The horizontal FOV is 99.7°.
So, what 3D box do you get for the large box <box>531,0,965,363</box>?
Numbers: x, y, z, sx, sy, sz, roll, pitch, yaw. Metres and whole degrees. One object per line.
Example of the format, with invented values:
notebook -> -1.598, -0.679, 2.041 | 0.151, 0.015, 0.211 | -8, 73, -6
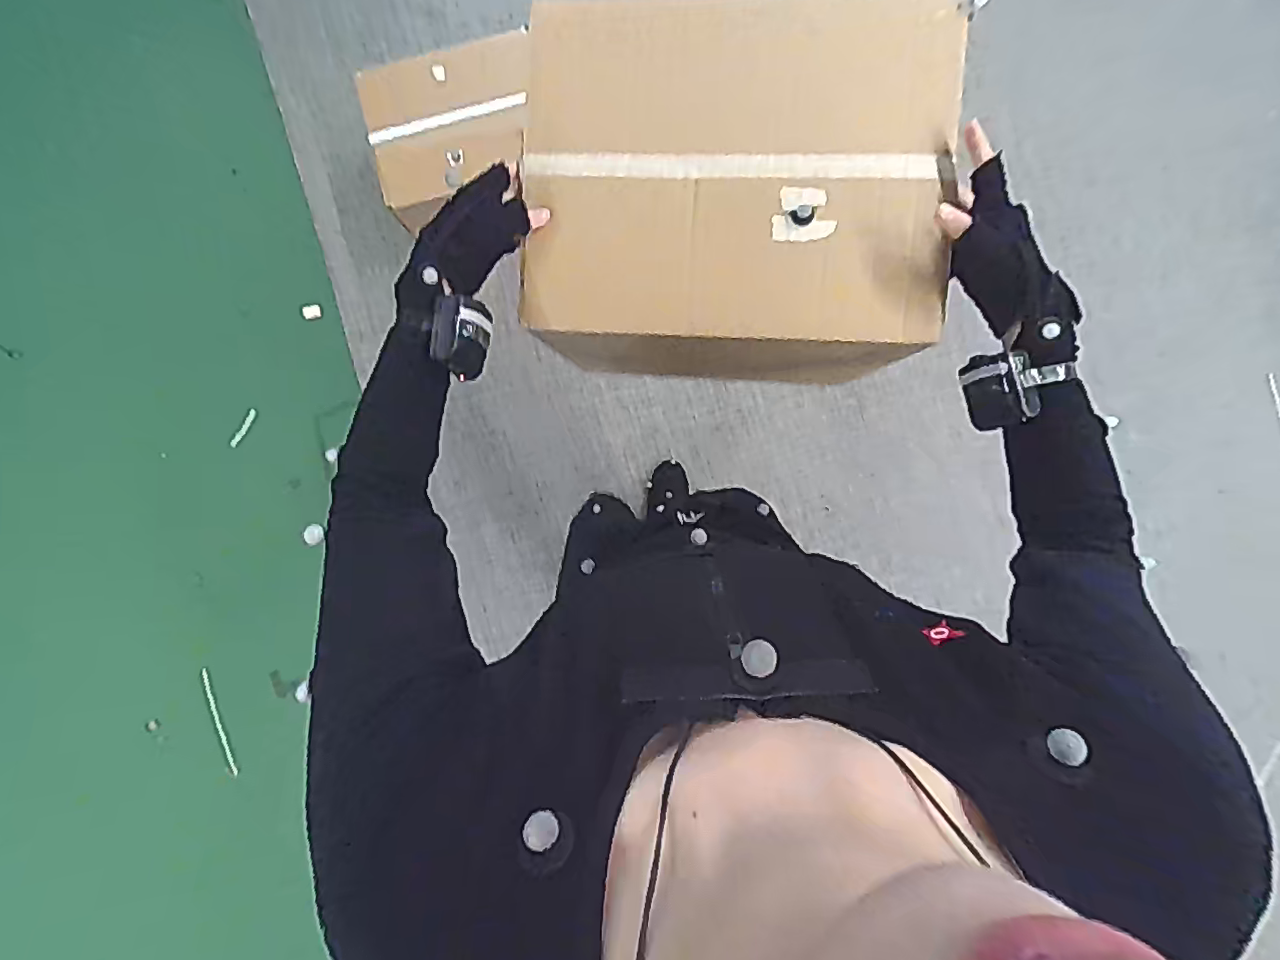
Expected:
large box -> 0.101, -0.322, 0.662 | 0.408, 0.320, 0.320 | 3, 95, 3
